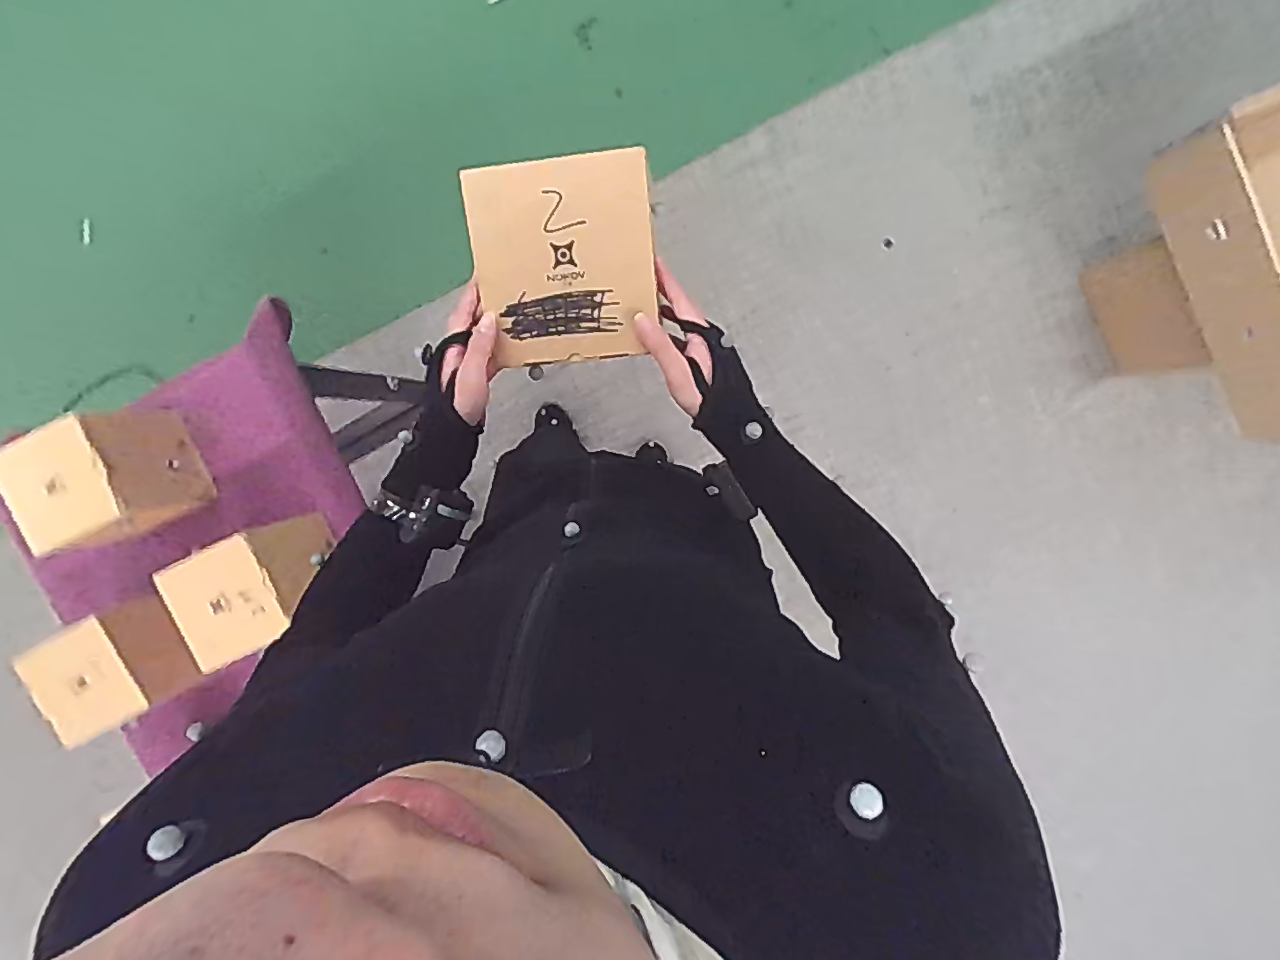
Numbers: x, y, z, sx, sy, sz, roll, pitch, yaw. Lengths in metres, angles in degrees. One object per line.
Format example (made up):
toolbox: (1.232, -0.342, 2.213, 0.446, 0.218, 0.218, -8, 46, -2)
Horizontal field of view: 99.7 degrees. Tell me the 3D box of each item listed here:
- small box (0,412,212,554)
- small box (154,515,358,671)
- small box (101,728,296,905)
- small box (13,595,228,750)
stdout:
small box: (-0.867, 0.000, 0.884, 0.179, 0.176, 0.168, -24, 94, 7)
small box: (-0.607, 0.173, 0.876, 0.179, 0.176, 0.168, -24, 94, 9)
small box: (-0.737, 0.565, 0.931, 0.179, 0.176, 0.168, -27, 93, 8)
small box: (-0.861, 0.310, 0.917, 0.179, 0.176, 0.168, -27, 94, 7)
